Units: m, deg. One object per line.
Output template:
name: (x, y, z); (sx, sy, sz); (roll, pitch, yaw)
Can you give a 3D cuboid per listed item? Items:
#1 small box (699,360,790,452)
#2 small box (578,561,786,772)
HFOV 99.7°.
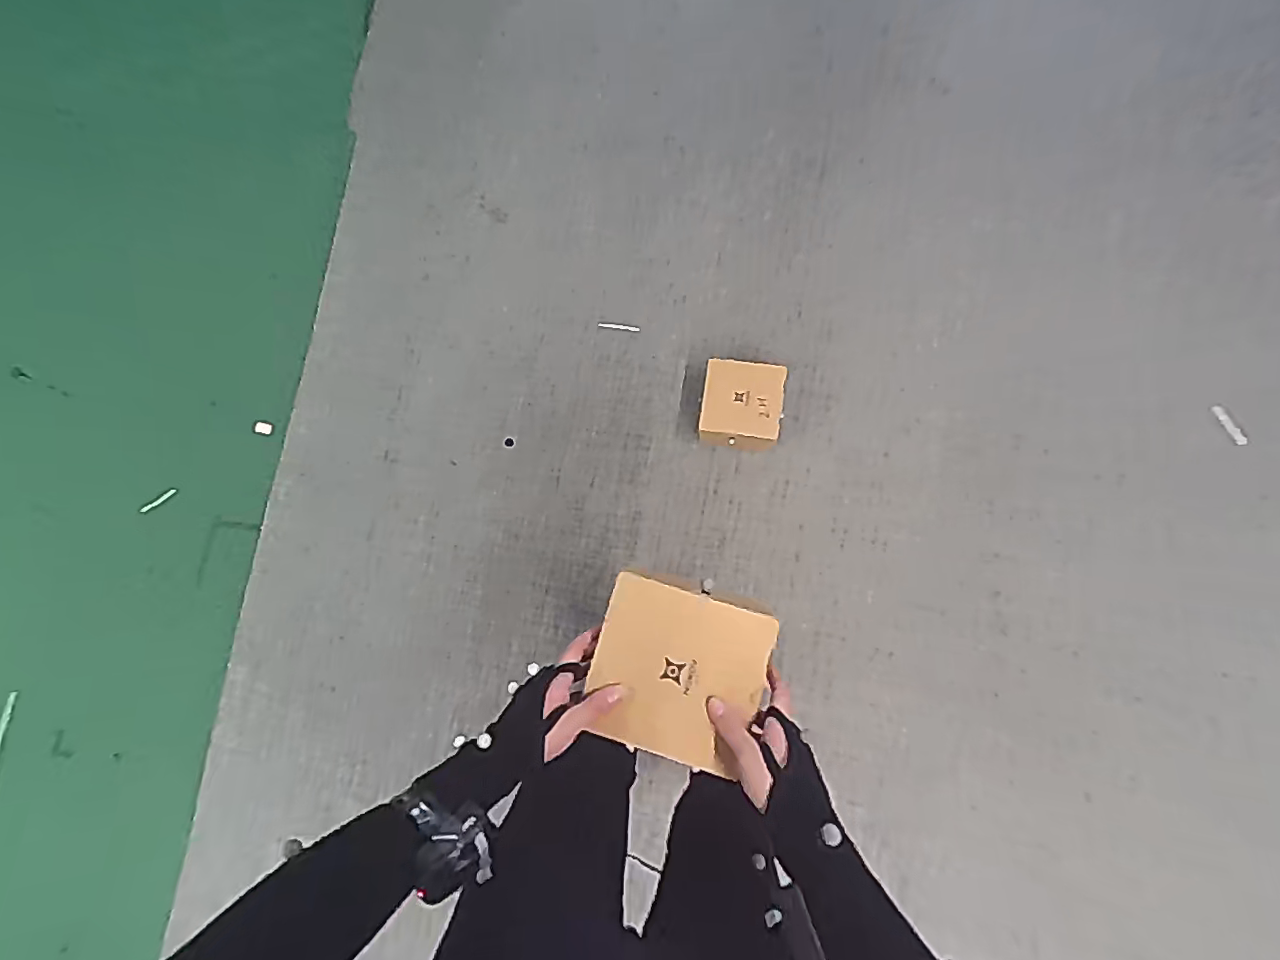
small box: (0.239, -0.167, 1.262); (0.179, 0.176, 0.168); (9, 85, 8)
small box: (0.045, 0.197, 0.627); (0.179, 0.176, 0.168); (17, 85, 4)
